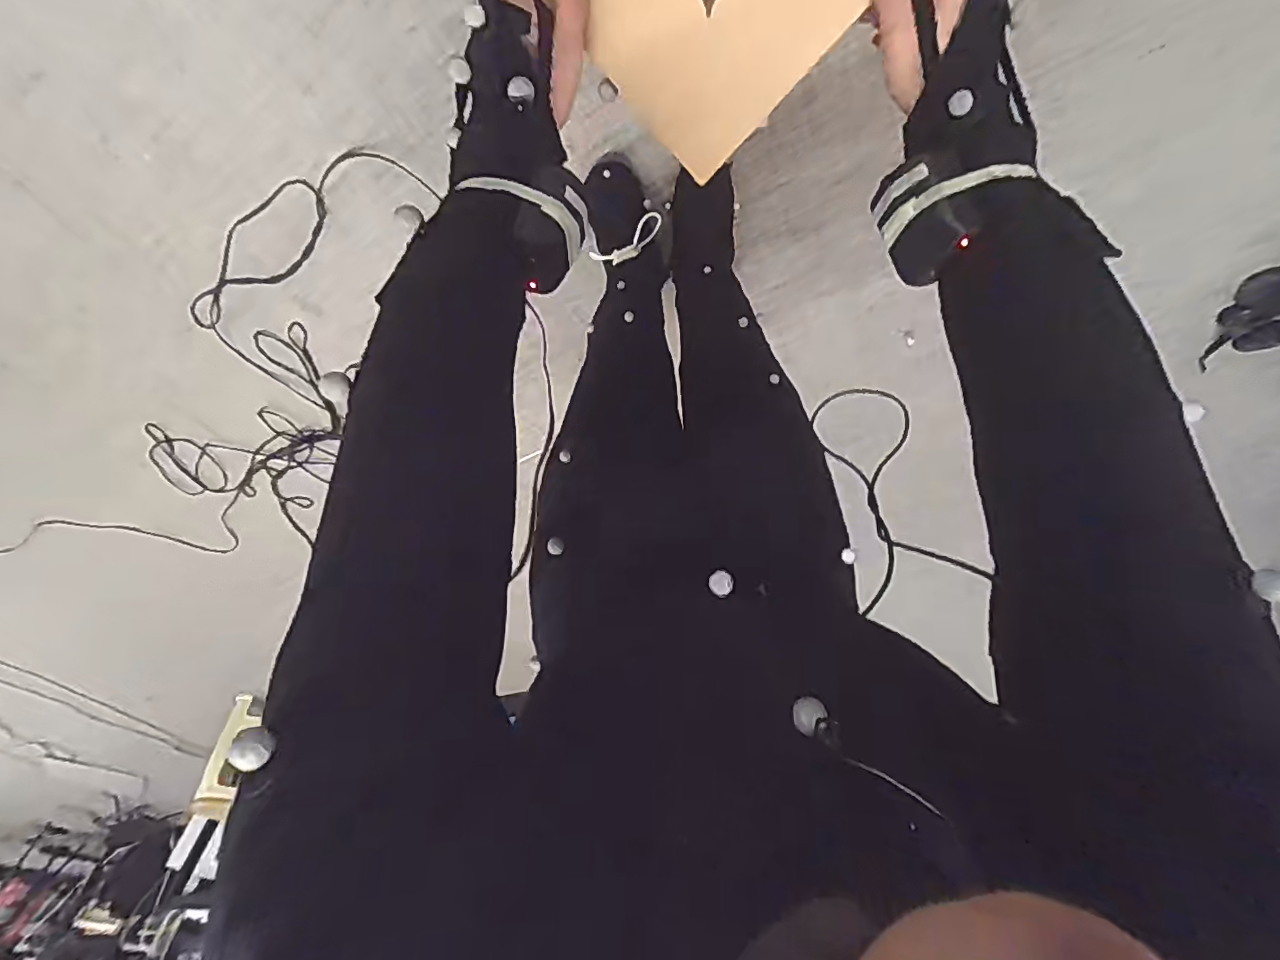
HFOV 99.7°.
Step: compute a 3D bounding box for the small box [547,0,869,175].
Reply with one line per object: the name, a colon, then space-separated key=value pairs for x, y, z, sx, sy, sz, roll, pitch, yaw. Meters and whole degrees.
small box: x=0.046 y=-0.373 z=0.400 sx=0.179 sy=0.176 sz=0.168 roll=38 pitch=123 yaw=-23
